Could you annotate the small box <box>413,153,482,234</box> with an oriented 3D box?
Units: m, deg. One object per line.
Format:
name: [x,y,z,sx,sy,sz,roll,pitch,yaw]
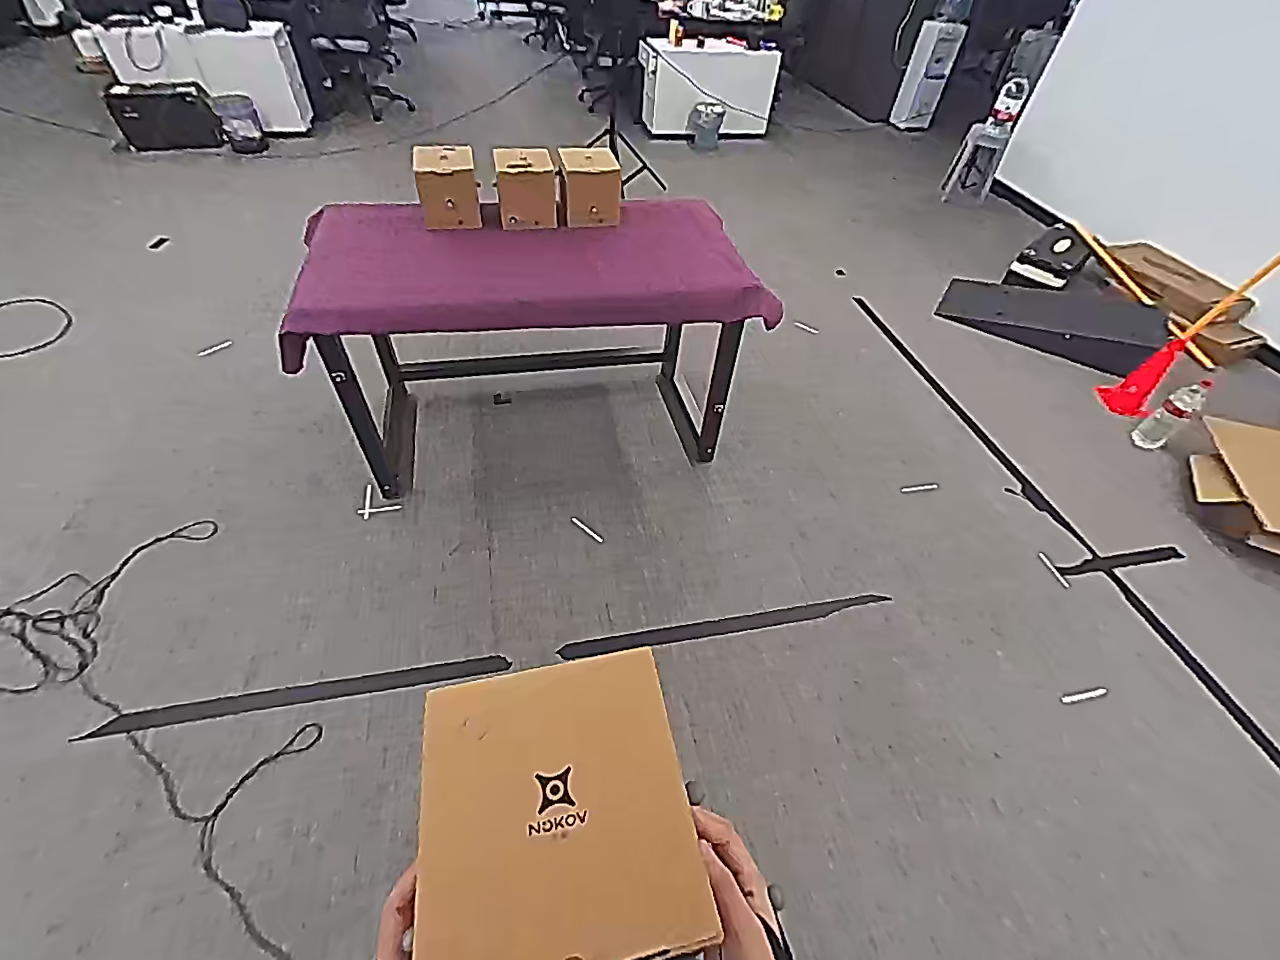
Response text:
small box: [-0.573,-0.853,1.619,0.168,0.176,0.179,-8,52,-13]

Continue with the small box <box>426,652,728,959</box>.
small box: [-0.051,0.258,0.400,0.168,0.176,0.179,-8,48,-10]
